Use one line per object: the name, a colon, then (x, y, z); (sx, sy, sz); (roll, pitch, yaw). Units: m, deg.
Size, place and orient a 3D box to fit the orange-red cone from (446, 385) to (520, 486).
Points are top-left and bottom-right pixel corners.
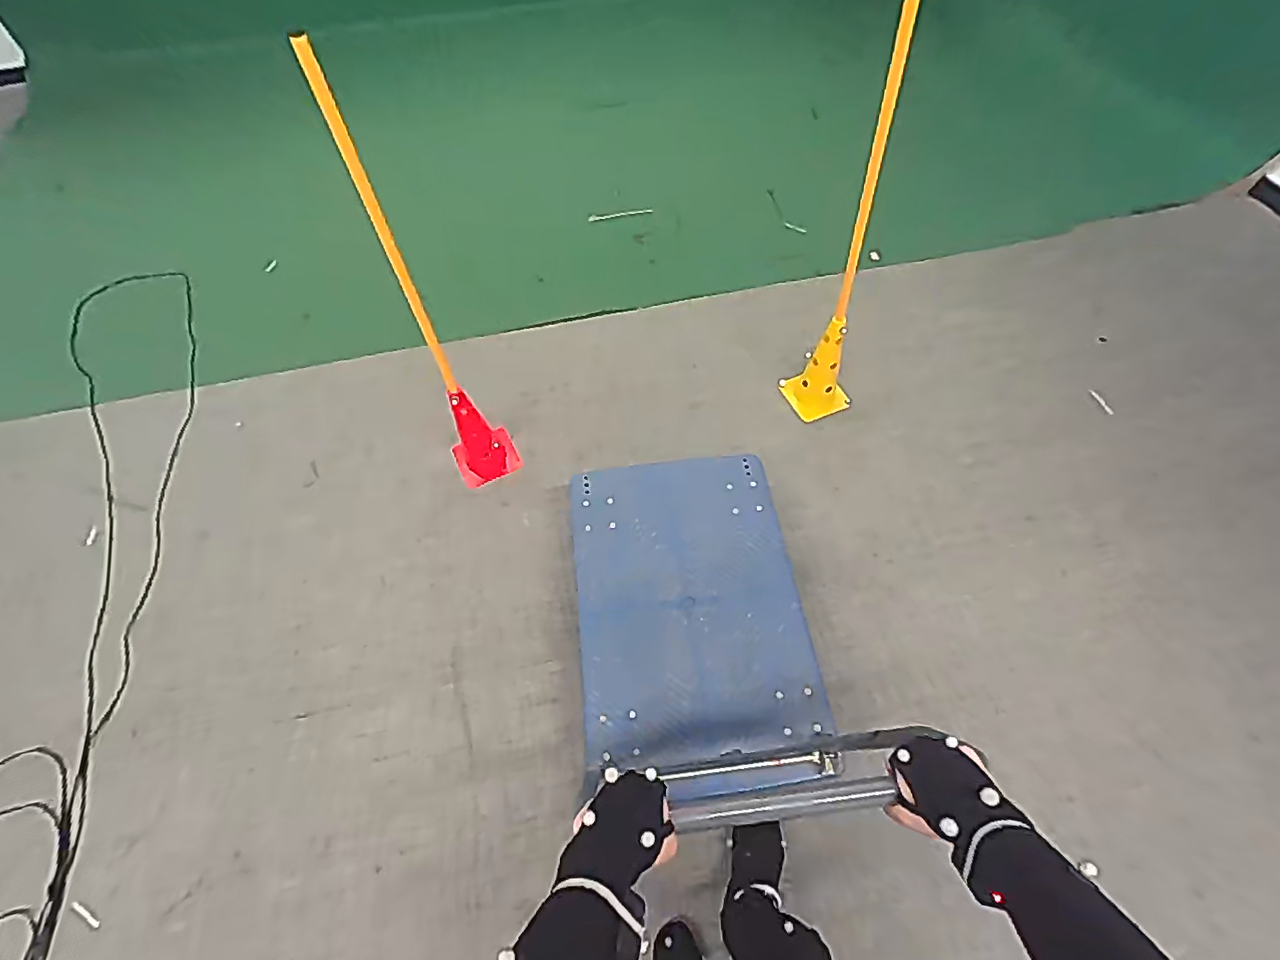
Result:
orange-red cone: (-0.536, -0.169, 1.710); (0.199, 0.360, 0.198); (-25, 60, -11)
